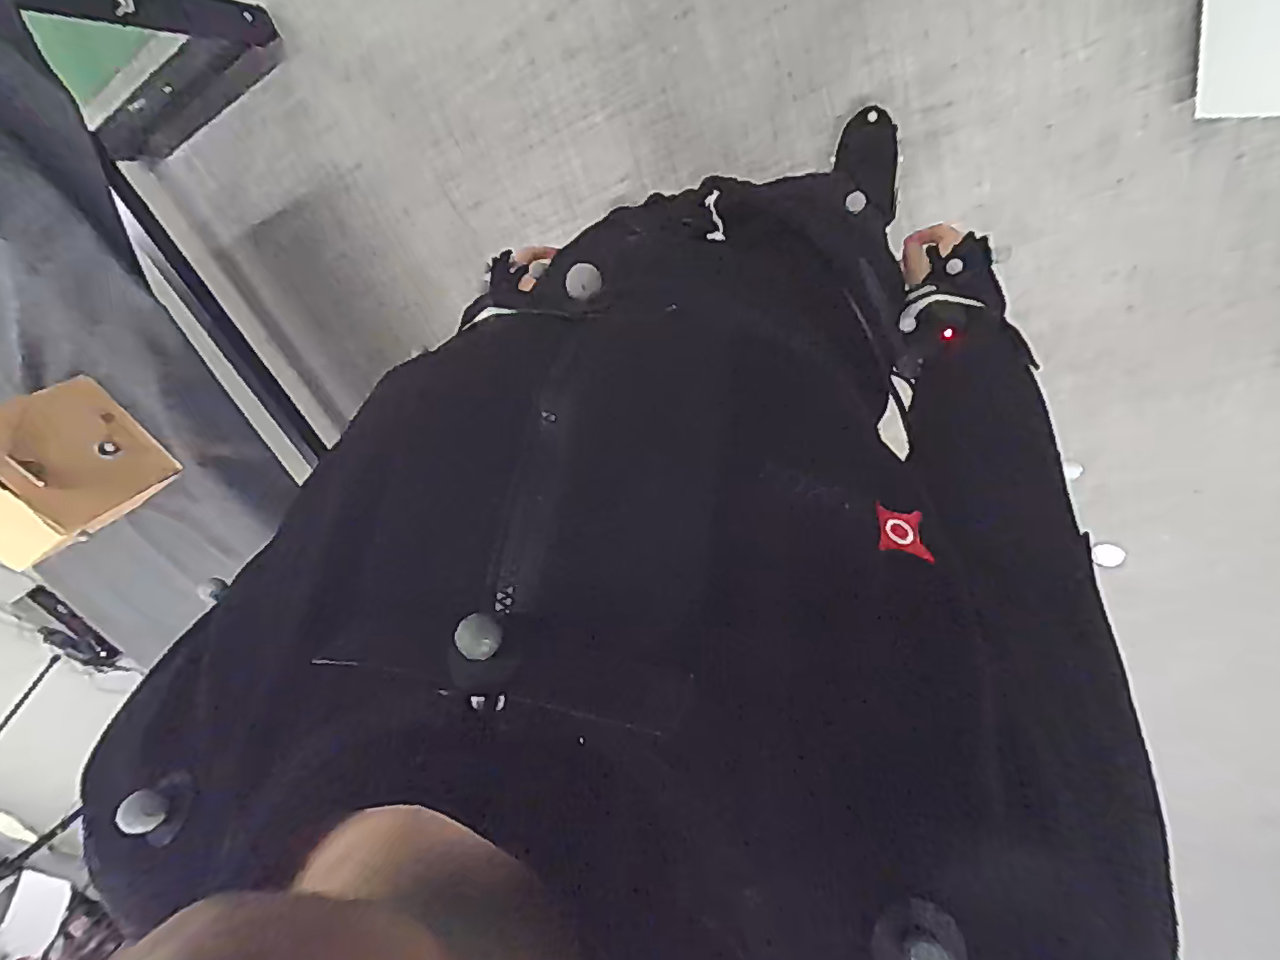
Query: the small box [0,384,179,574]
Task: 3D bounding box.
[{"bbox_3d":[-0.802,-0.004,0.746,0.179,0.176,0.168,-23,114,26],"label":"small box"}]
